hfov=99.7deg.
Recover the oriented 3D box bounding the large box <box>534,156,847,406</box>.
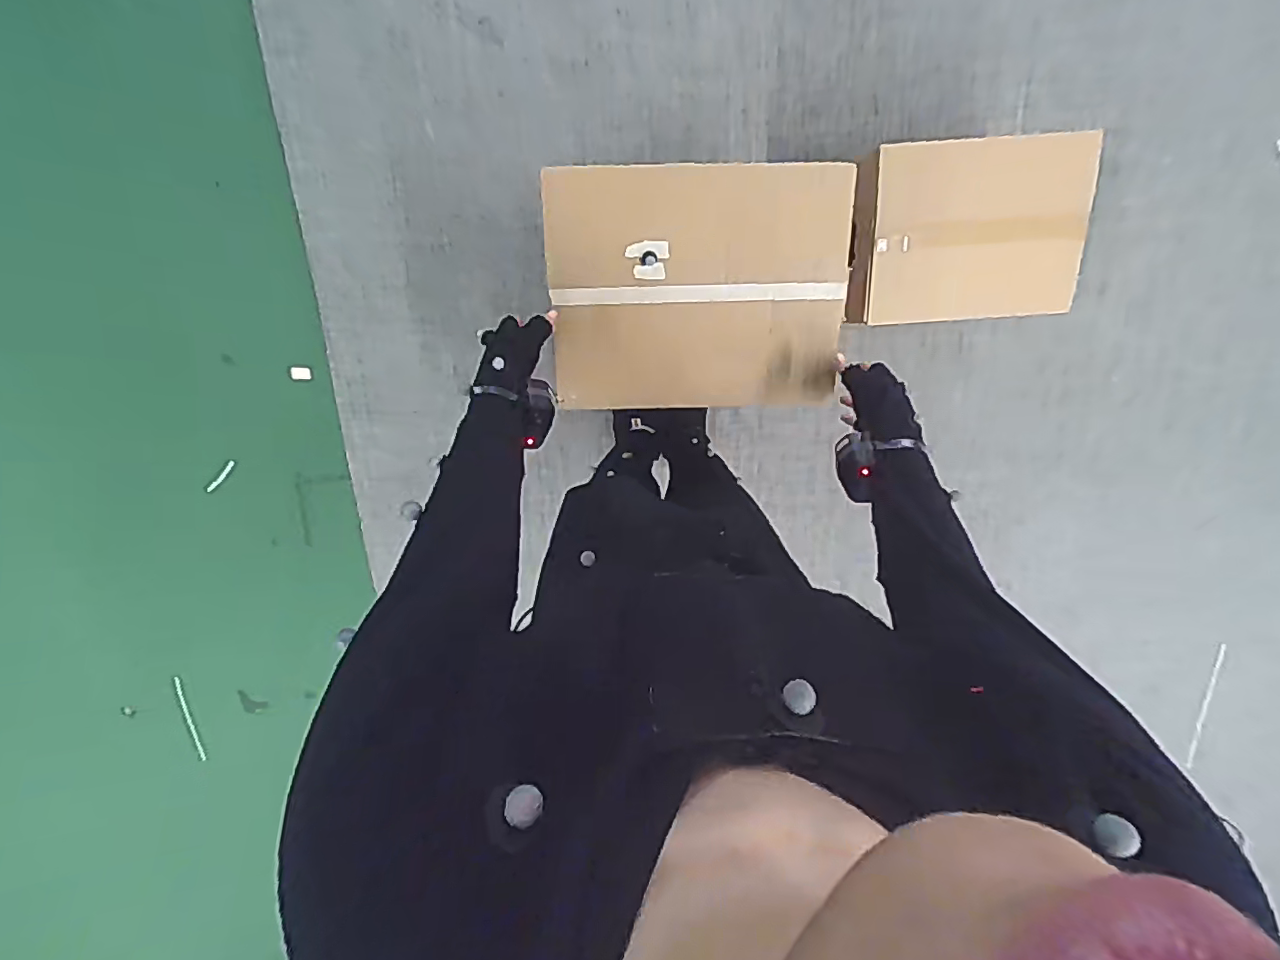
[{"bbox_3d":[0.069,-0.308,0.868,0.408,0.320,0.320,-1,110,0],"label":"large box"}]
